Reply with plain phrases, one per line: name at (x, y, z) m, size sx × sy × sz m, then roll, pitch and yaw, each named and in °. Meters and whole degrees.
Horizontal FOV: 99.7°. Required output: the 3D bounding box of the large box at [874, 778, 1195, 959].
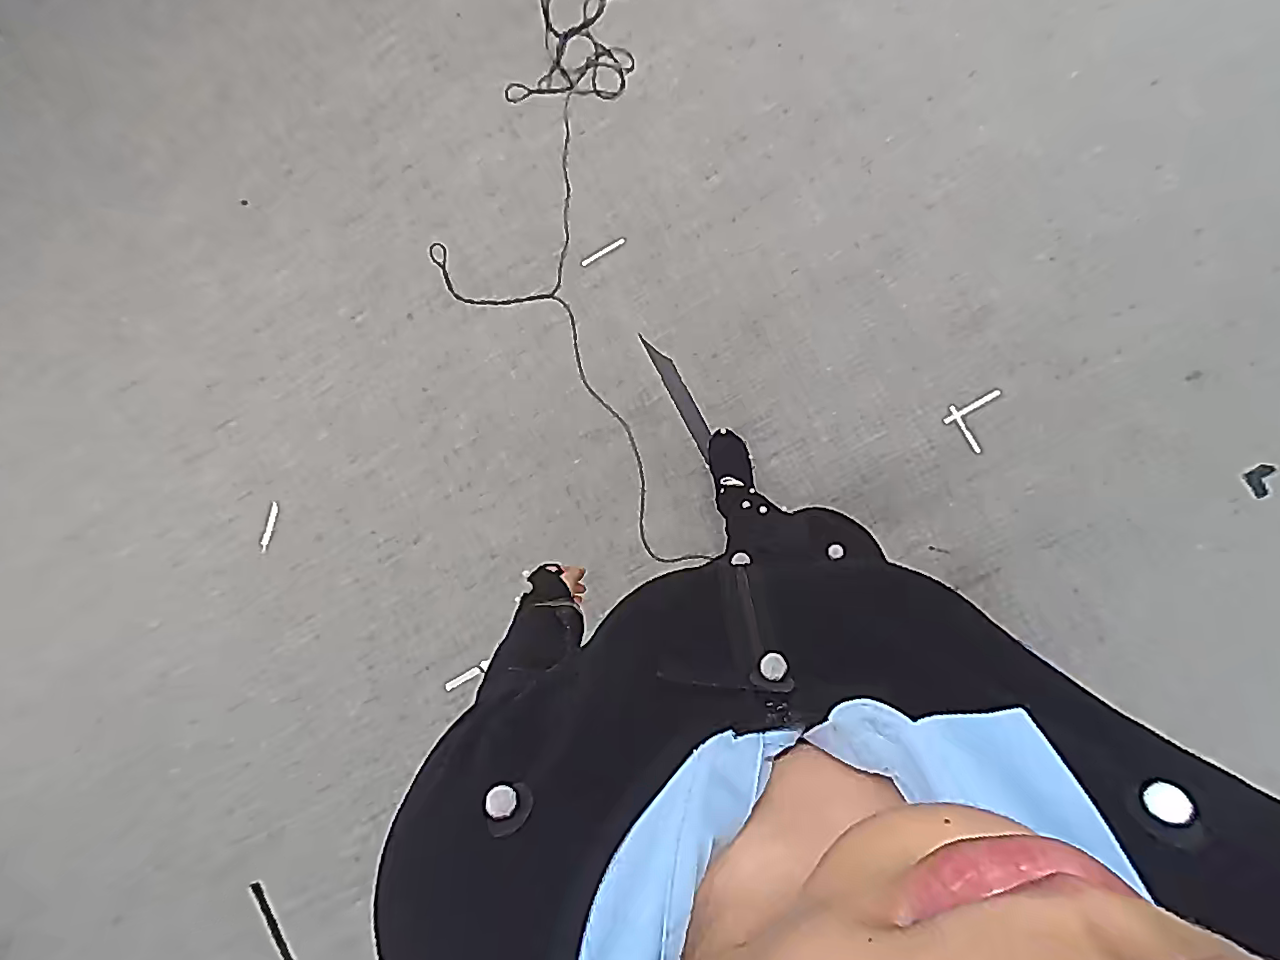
large box at (0.752, 0.864, 1.064) m, size 0.408 × 0.320 × 0.320 m, roll -22°, pitch 85°, yaw 7°
